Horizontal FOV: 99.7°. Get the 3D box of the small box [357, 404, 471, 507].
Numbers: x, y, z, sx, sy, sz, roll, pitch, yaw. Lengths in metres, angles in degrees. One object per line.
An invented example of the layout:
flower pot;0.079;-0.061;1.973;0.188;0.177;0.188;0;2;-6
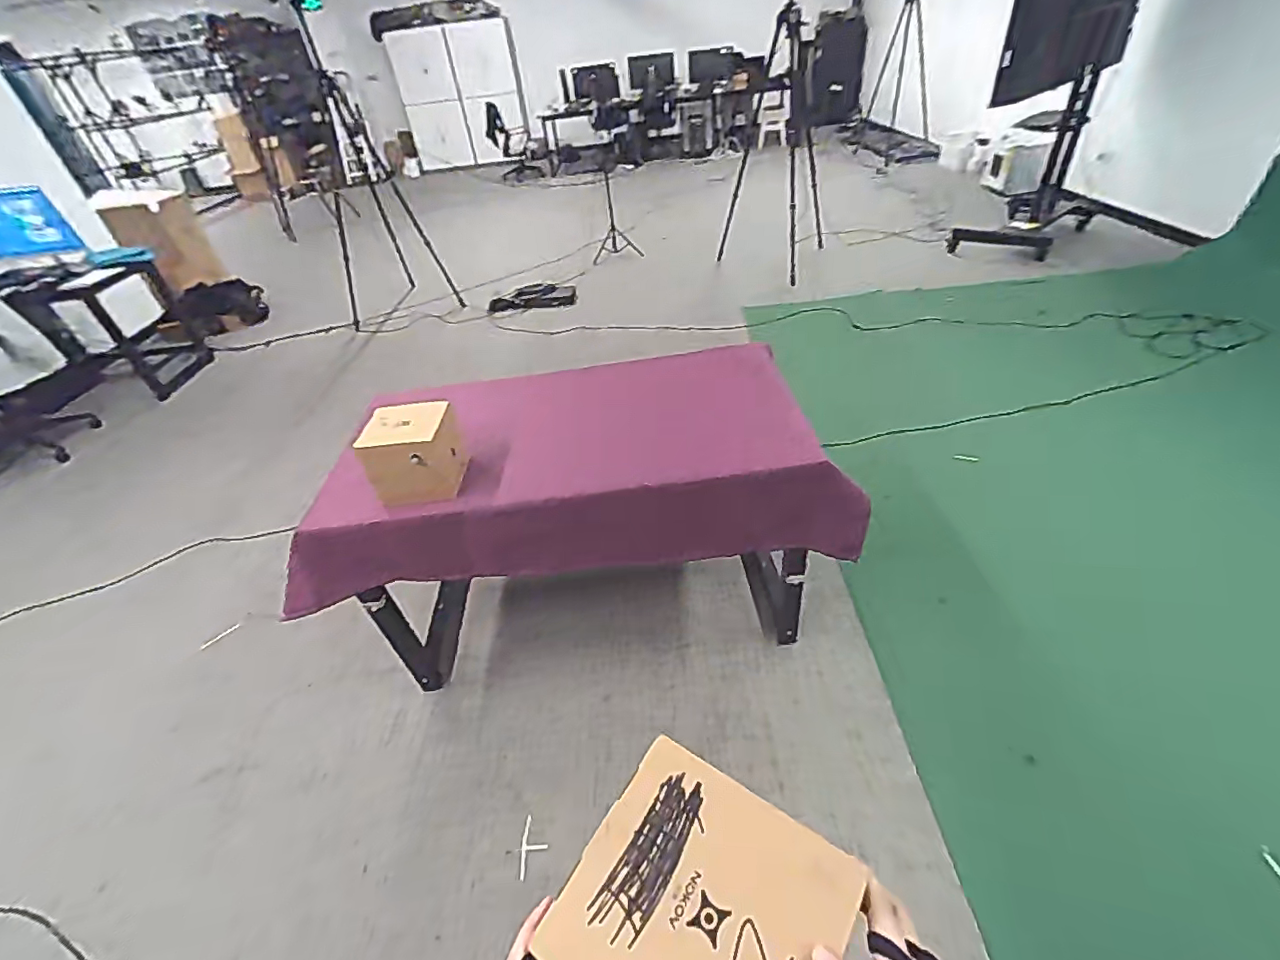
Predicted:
small box;-0.514;-0.055;1.262;0.179;0.176;0.168;-6;39;3
